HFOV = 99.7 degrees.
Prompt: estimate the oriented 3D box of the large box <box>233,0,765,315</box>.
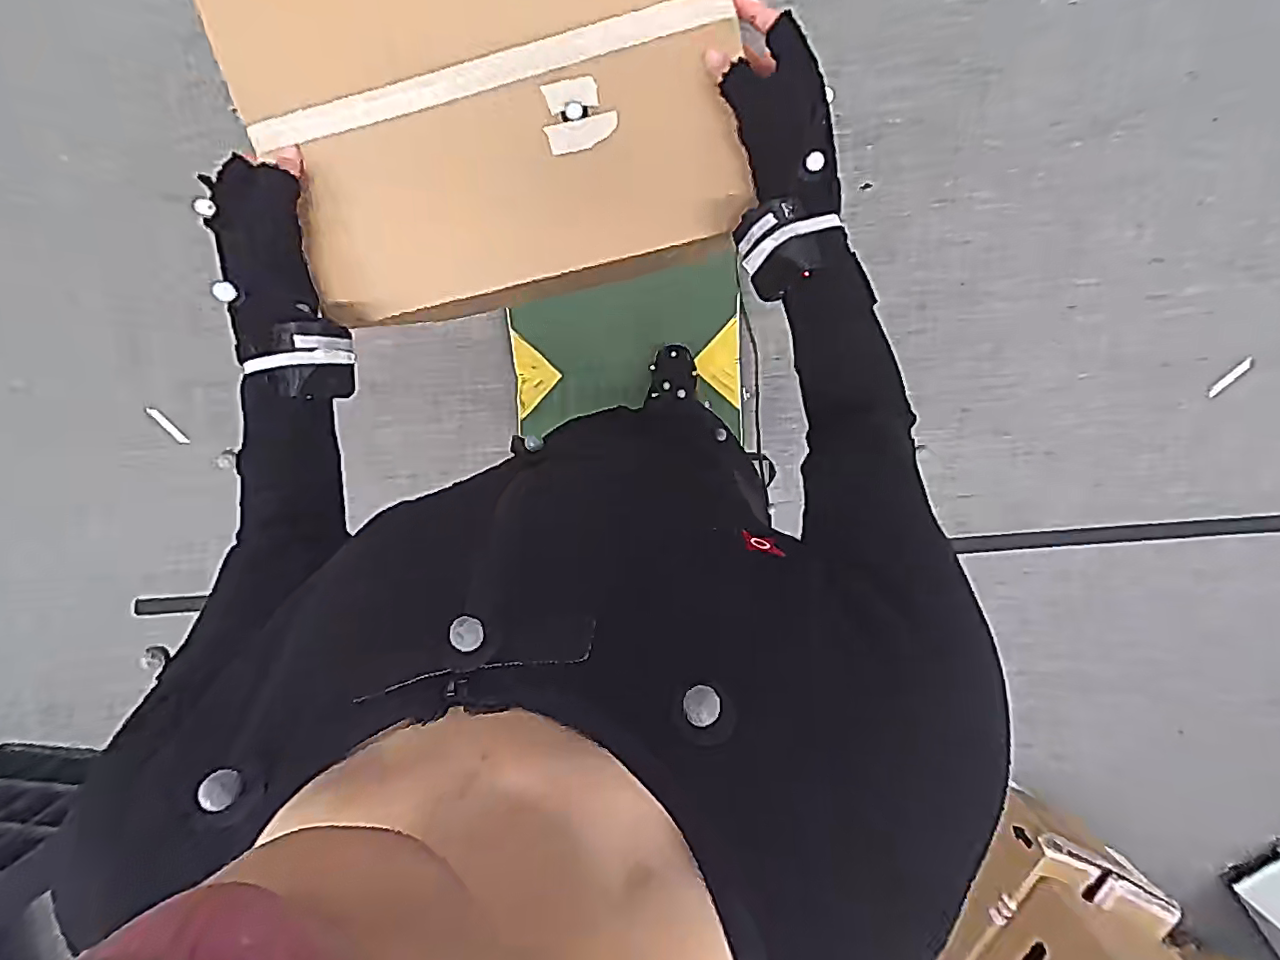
[{"bbox_3d":[-0.115,-0.381,0.591,0.408,0.320,0.320,-12,108,4],"label":"large box"}]
